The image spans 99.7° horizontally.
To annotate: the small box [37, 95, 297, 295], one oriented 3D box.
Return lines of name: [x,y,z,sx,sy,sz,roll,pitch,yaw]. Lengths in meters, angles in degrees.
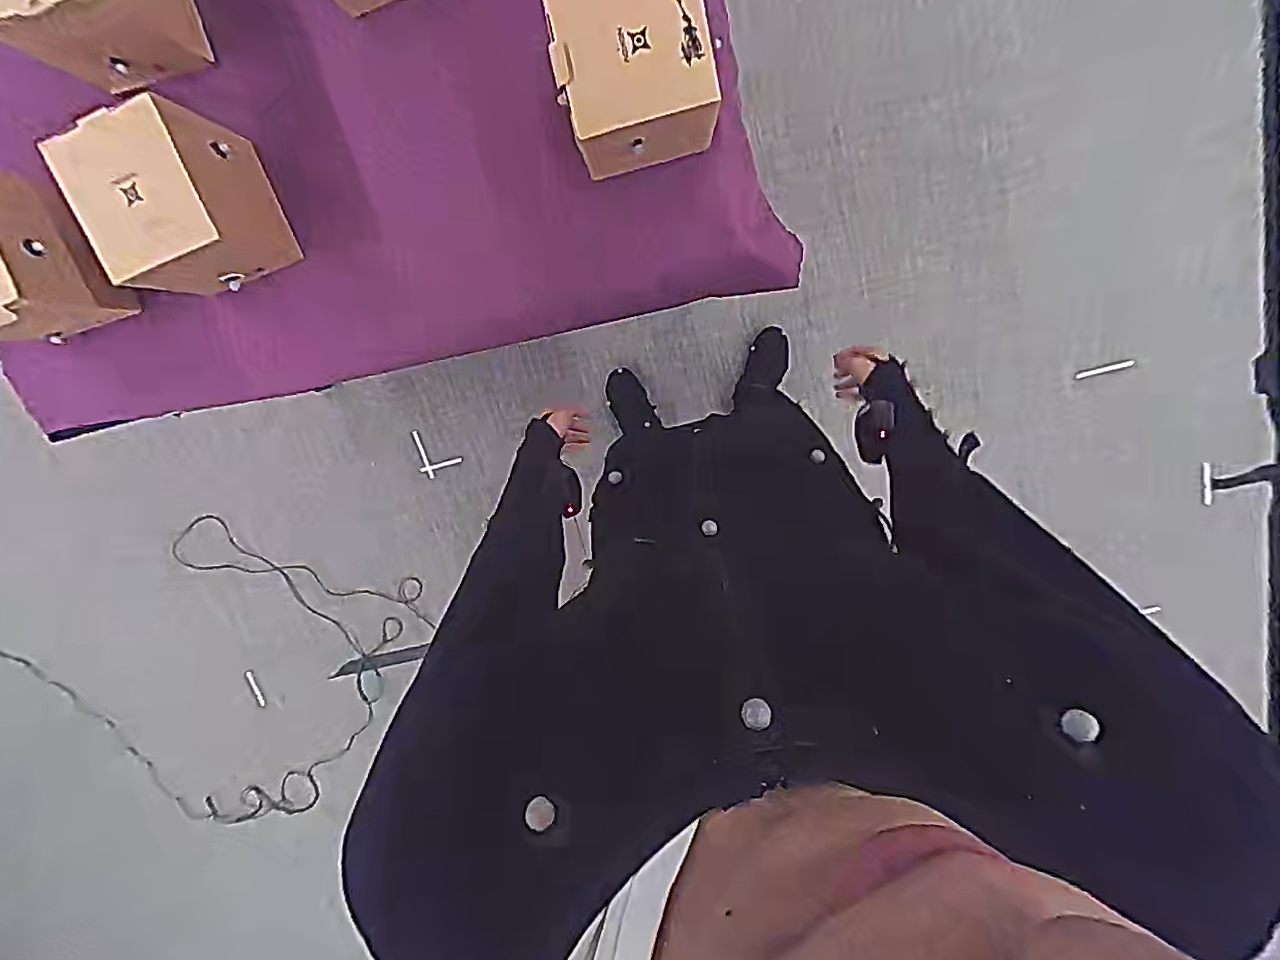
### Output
small box: [-0.627,-0.372,0.743,0.168,0.176,0.179,-18,102,7]

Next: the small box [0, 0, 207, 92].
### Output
small box: [-0.706,-0.635,0.676,0.168,0.176,0.179,-12,104,4]

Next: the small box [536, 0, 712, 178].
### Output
small box: [-0.012,-0.510,0.687,0.179,0.176,0.168,-12,104,6]

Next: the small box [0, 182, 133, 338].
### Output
small box: [-0.892,-0.306,0.765,0.168,0.176,0.179,-16,102,5]
